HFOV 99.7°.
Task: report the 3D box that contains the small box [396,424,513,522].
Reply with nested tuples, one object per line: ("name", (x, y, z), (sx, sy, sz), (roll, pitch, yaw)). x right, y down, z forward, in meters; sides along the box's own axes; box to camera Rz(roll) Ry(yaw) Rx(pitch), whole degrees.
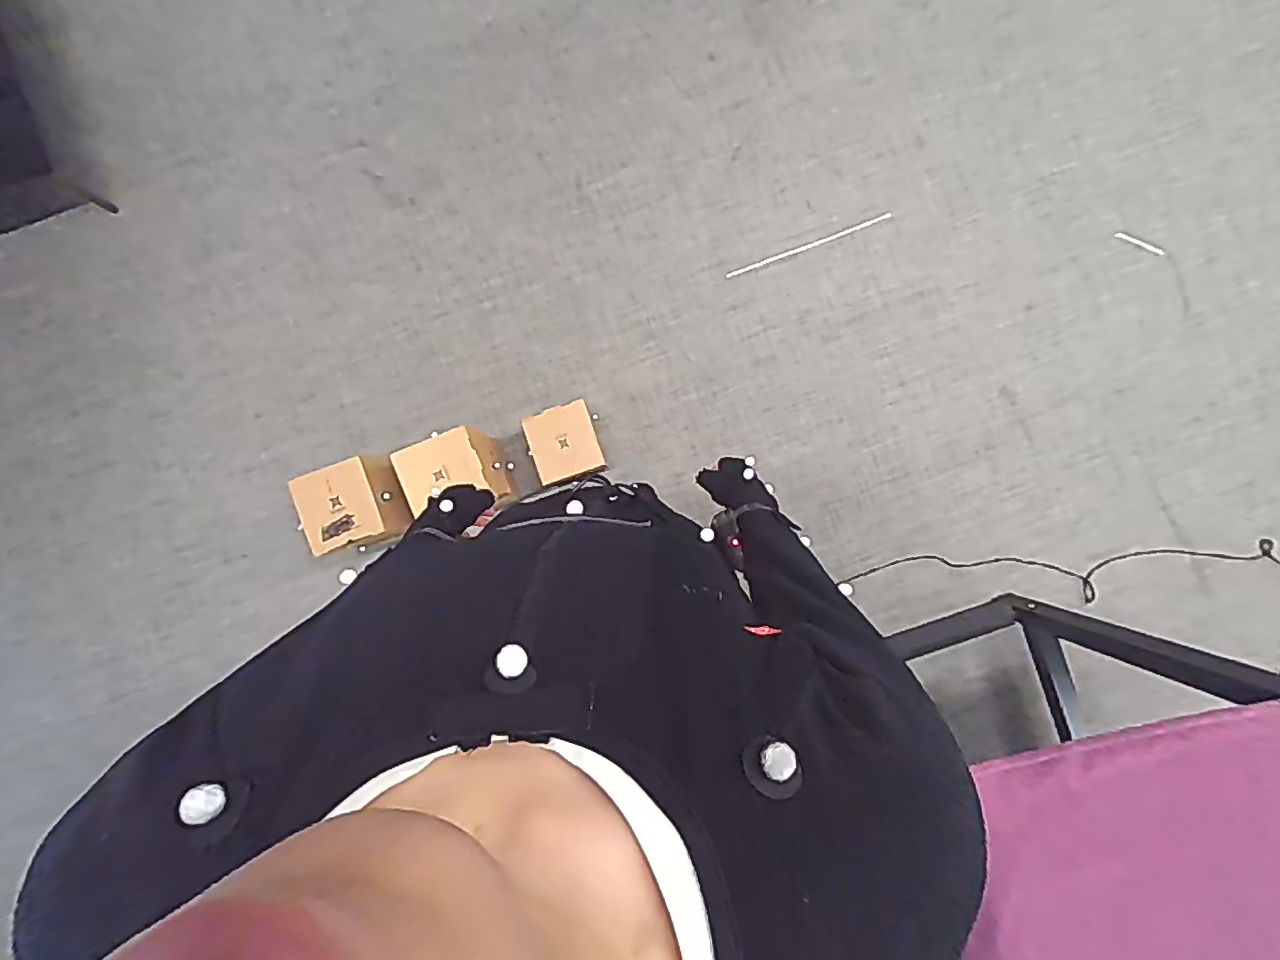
("small box", (-0.415, -0.013, 1.238), (0.179, 0.176, 0.168), (-23, 90, 0))

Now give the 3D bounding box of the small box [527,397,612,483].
("small box", (-0.177, -0.097, 1.402), (0.168, 0.176, 0.179), (-19, 90, 1))

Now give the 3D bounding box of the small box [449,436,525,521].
("small box", (-0.417, -0.005, 1.401), (0.168, 0.176, 0.179), (-22, 89, 1))
